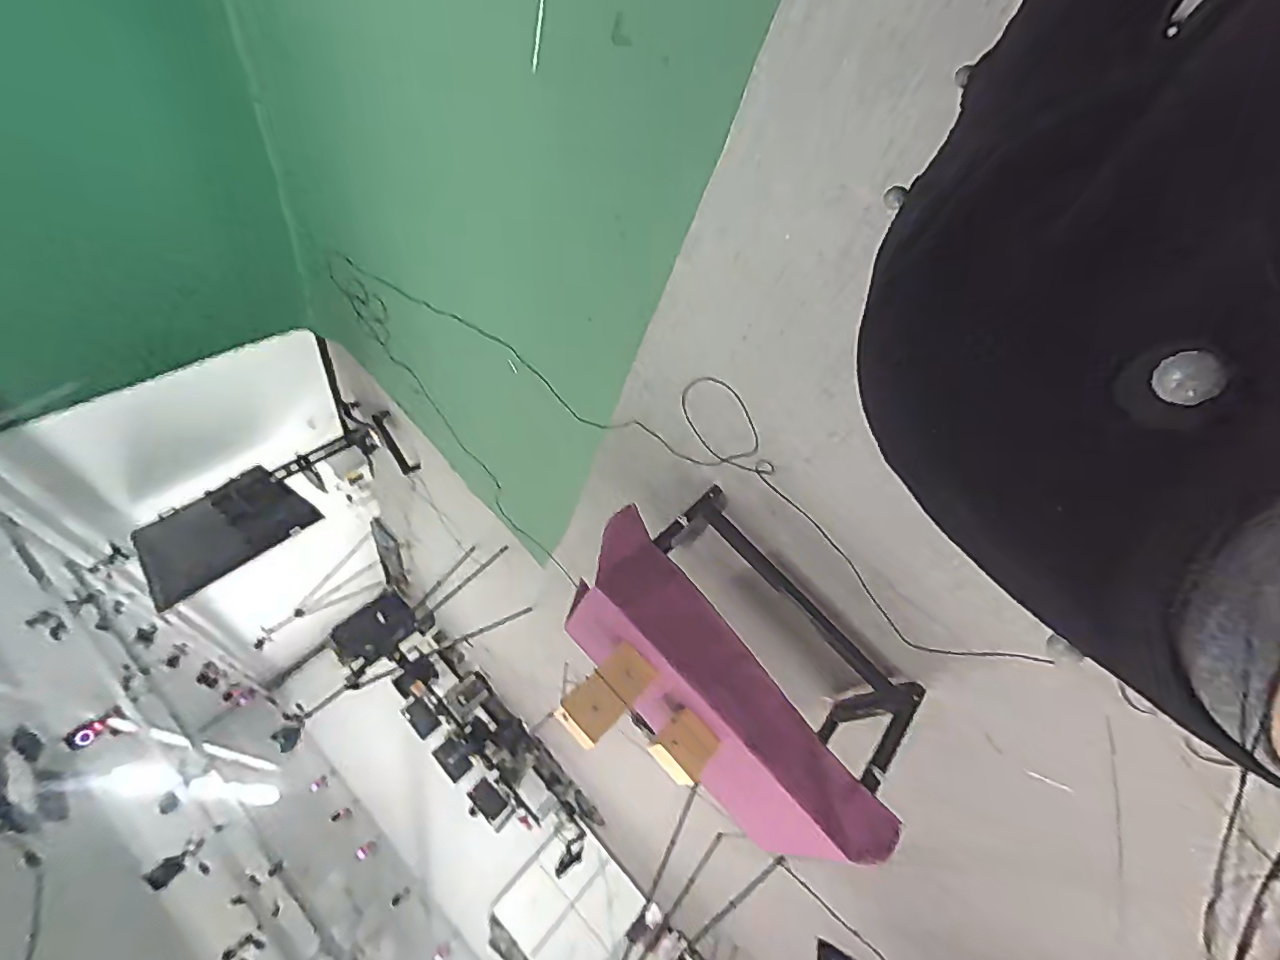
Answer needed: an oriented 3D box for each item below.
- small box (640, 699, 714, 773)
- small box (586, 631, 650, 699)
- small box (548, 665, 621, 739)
[{"bbox_3d":[0.136,0.927,1.957,0.179,0.176,0.168,47,147,9],"label":"small box"},{"bbox_3d":[-0.089,0.694,2.003,0.179,0.176,0.168,44,146,11],"label":"small box"},{"bbox_3d":[-0.196,0.778,1.910,0.179,0.176,0.168,45,147,10],"label":"small box"}]
